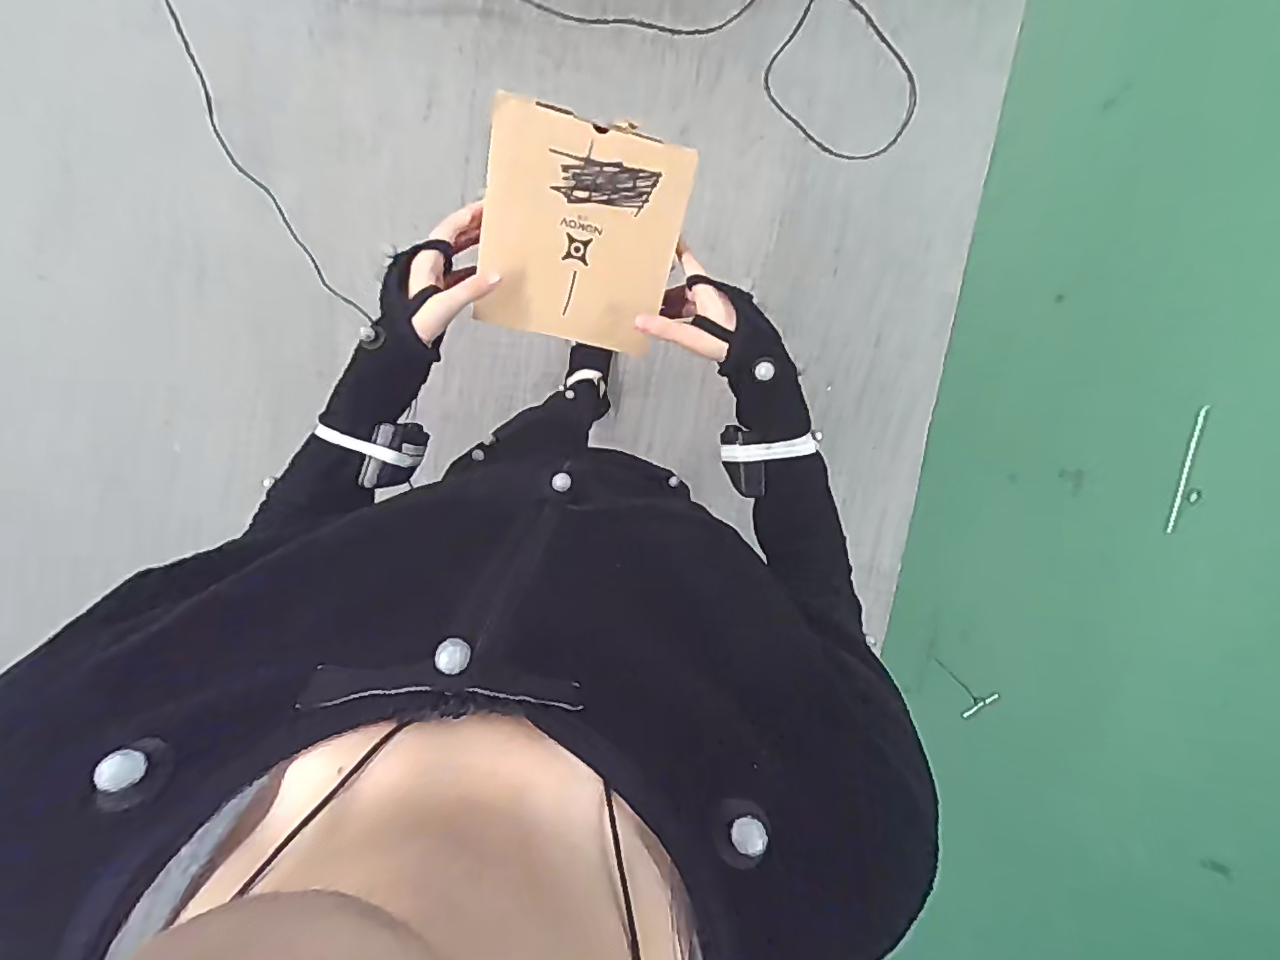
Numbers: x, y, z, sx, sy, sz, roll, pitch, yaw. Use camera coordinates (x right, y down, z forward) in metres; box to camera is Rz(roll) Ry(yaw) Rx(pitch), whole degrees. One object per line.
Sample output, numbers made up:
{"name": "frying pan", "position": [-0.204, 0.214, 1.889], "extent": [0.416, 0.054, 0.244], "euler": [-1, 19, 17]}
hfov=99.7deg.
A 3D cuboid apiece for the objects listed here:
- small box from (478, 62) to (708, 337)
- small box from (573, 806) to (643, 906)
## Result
{"name": "small box", "position": [-0.050, -0.261, 0.526], "extent": [0.168, 0.176, 0.179], "euler": [11, 117, -10]}
{"name": "small box", "position": [-0.092, 1.074, 1.555], "extent": [0.179, 0.176, 0.168], "euler": [8, 98, -5]}
